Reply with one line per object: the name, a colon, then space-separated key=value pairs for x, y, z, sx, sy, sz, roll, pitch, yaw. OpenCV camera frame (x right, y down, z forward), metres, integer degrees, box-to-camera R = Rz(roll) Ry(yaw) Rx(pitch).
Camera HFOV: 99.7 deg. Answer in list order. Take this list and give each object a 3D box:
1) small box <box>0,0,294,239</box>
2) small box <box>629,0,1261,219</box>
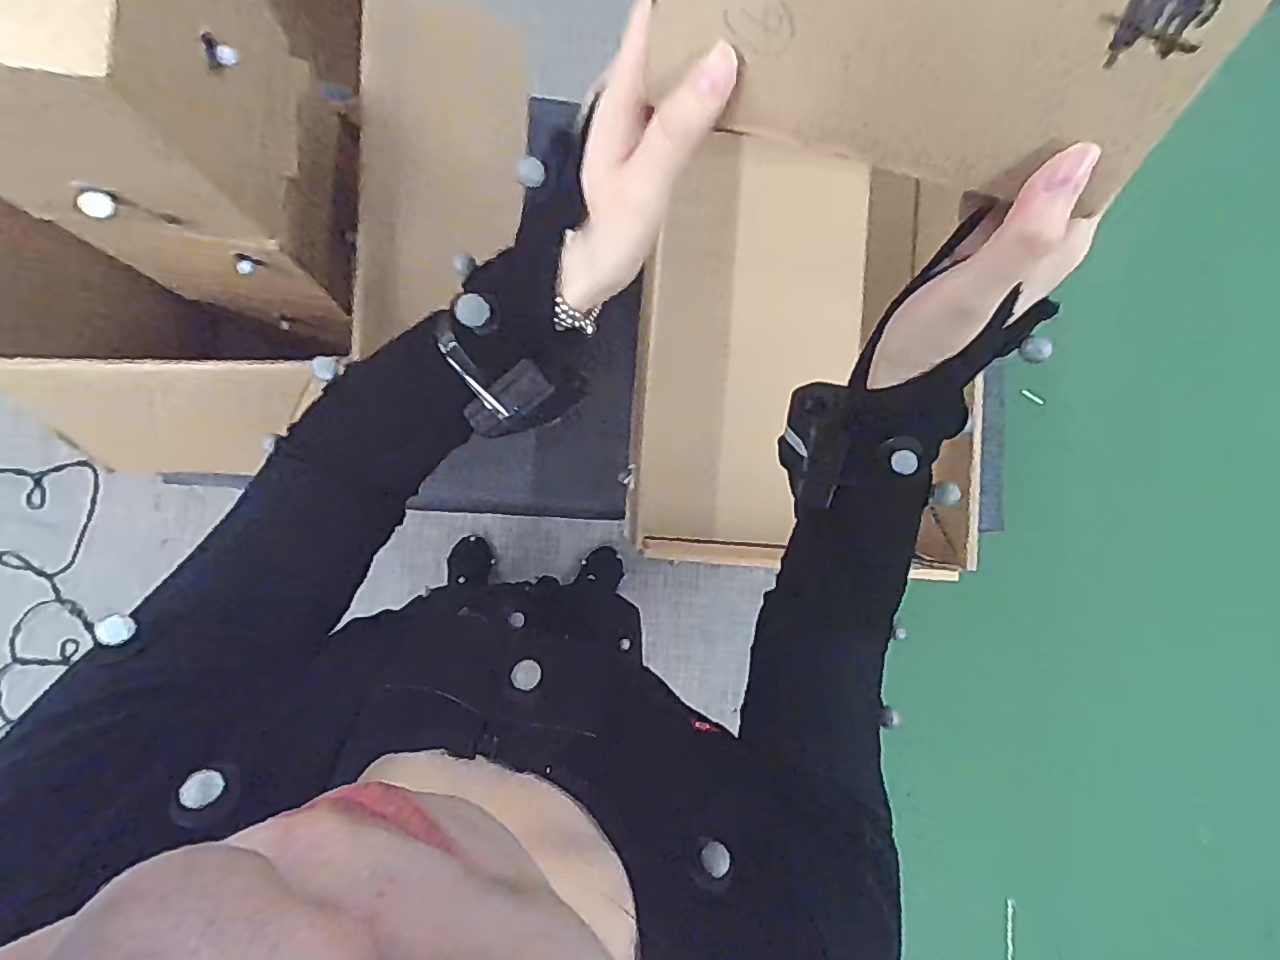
small box: x=-0.353 y=-0.290 z=0.352 sx=0.168 sy=0.176 sz=0.179 roll=2 pitch=86 yaw=-9
small box: x=0.112 y=-0.227 z=0.182 sx=0.179 sy=0.168 sz=0.176 roll=19 pitch=55 yaw=5
